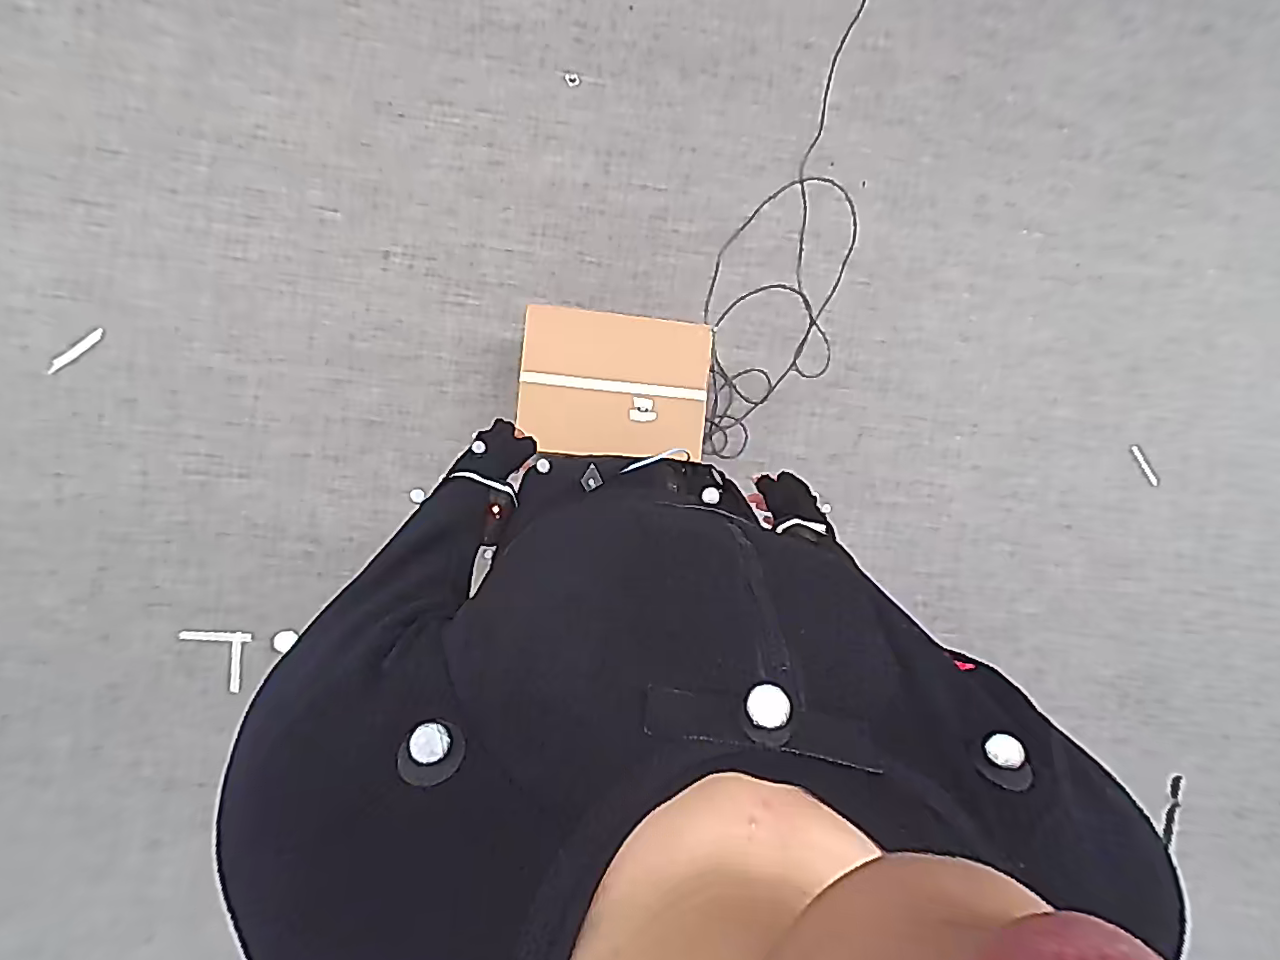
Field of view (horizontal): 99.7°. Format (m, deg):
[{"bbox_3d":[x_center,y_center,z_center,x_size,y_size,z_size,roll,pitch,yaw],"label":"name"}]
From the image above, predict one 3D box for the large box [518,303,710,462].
[{"bbox_3d":[-0.068,-0.215,1.324,0.408,0.320,0.320,6,91,-5],"label":"large box"}]
